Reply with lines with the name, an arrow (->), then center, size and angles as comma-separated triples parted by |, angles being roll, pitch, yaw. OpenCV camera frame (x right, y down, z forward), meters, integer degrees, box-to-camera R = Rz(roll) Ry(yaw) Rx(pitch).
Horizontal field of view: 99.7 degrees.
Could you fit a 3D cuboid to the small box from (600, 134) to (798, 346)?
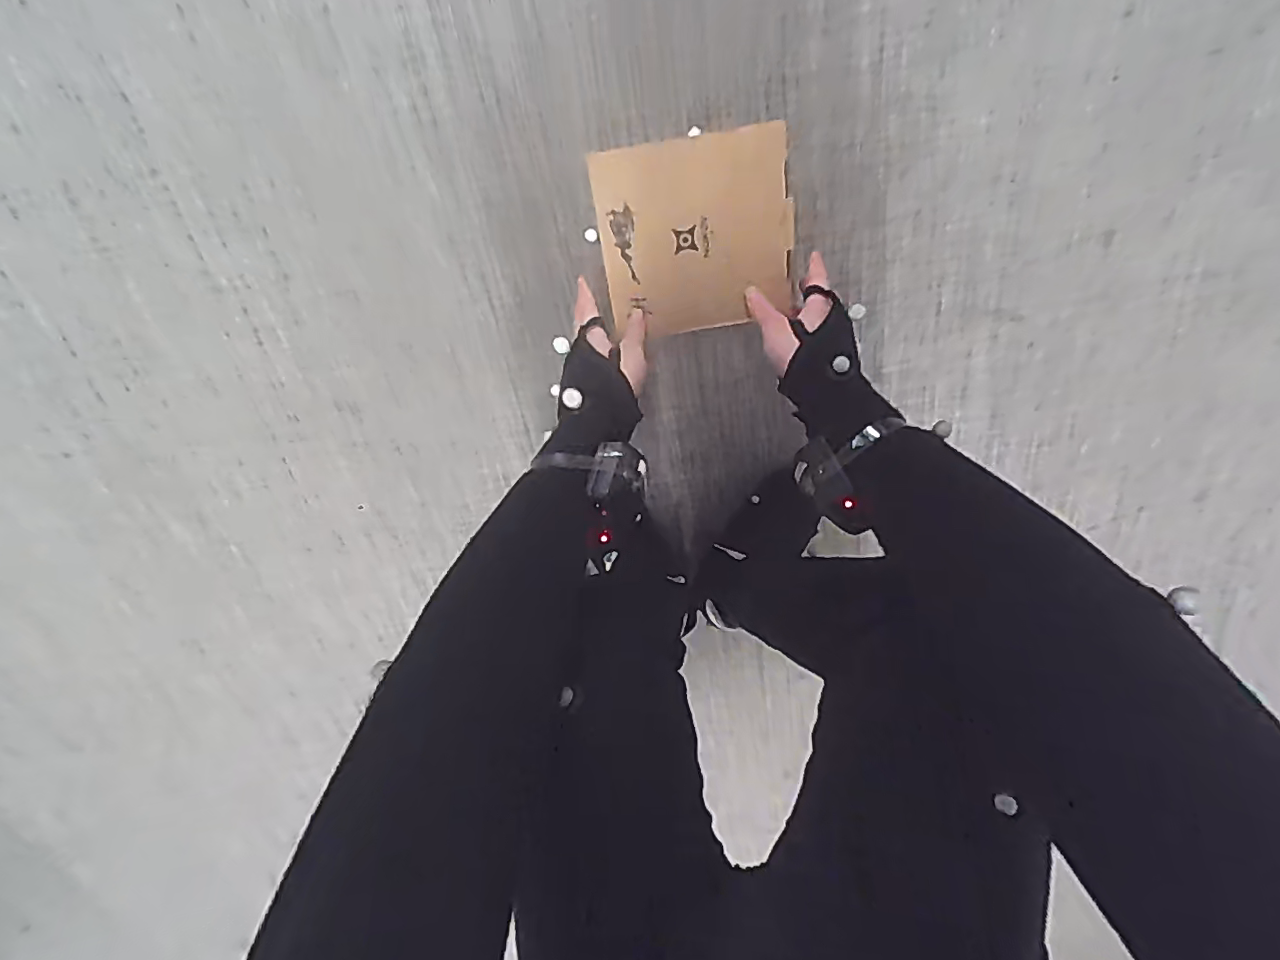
small box -> 0.057, -0.252, 0.576 | 0.179, 0.176, 0.168 | -8, 115, 2
